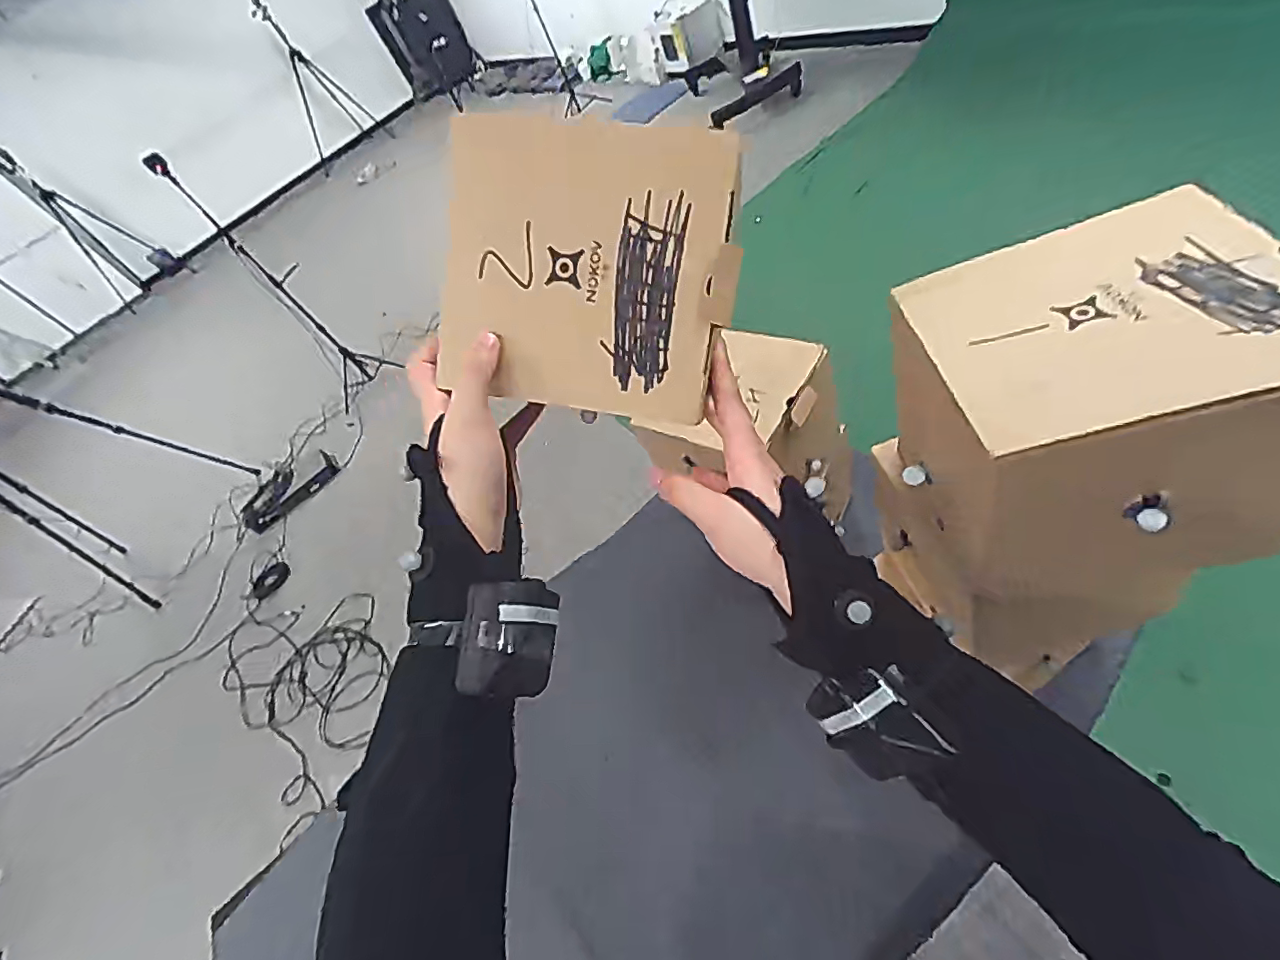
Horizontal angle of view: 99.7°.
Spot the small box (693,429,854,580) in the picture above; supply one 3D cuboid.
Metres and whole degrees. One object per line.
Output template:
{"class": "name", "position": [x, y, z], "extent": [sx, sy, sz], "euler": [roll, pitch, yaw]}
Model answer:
{"class": "small box", "position": [0.199, 0.026, 0.792], "extent": [0.179, 0.176, 0.168], "euler": [15, 65, 32]}

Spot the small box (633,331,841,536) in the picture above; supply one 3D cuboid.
{"class": "small box", "position": [0.127, -0.055, 0.666], "extent": [0.179, 0.176, 0.168], "euler": [22, 69, 36]}

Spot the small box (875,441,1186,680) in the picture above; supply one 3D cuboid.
{"class": "small box", "position": [0.334, 0.052, 0.477], "extent": [0.179, 0.176, 0.168], "euler": [-23, 45, 9]}

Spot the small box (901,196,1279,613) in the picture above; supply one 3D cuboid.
{"class": "small box", "position": [0.283, -0.035, 0.344], "extent": [0.179, 0.176, 0.168], "euler": [-15, 47, 17]}
